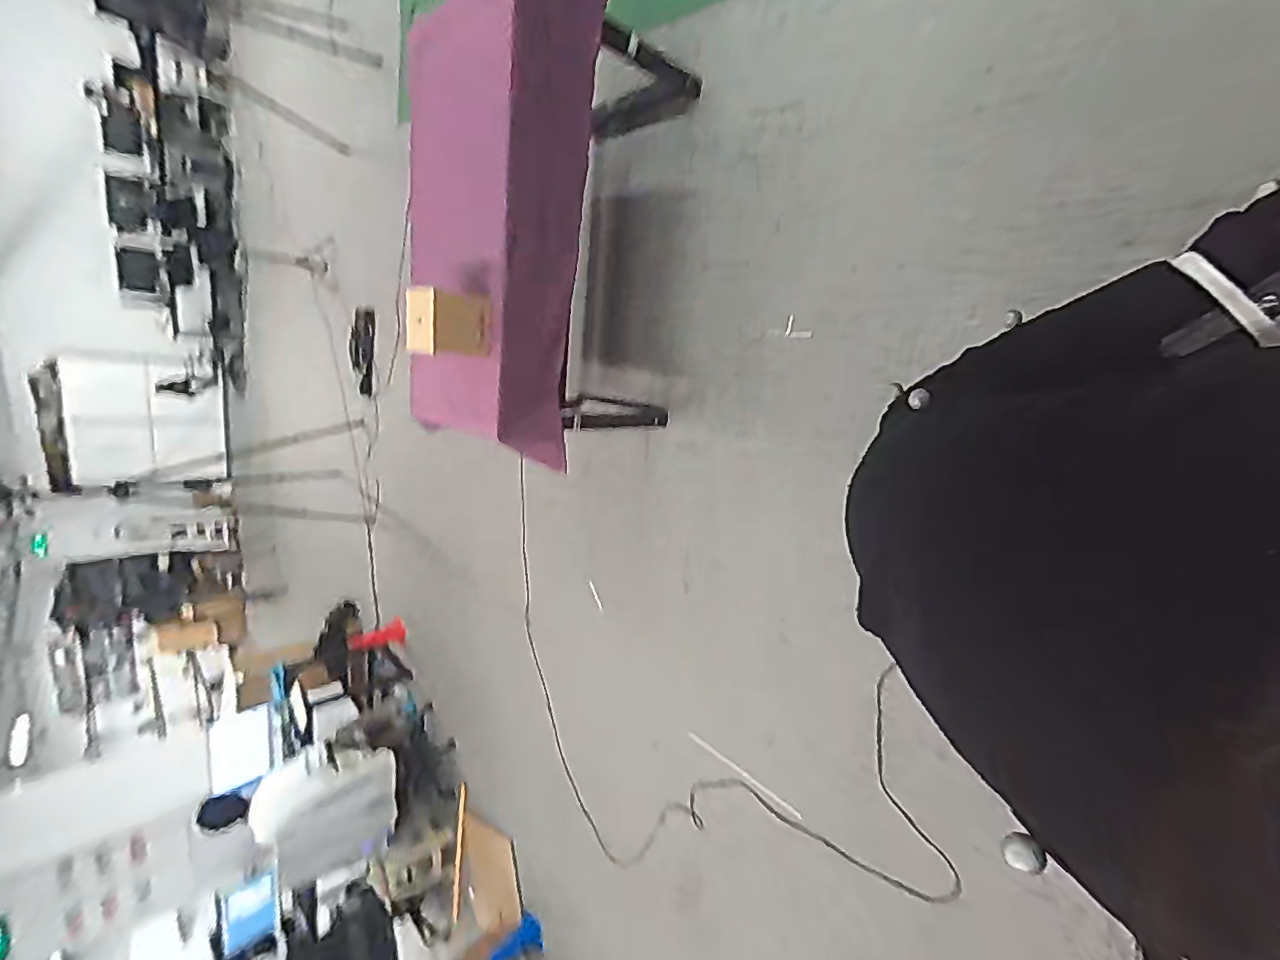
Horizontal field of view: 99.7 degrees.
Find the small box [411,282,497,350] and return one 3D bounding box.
[{"bbox_3d":[-0.523,-0.456,1.514,0.179,0.176,0.168,18,109,42],"label":"small box"}]
